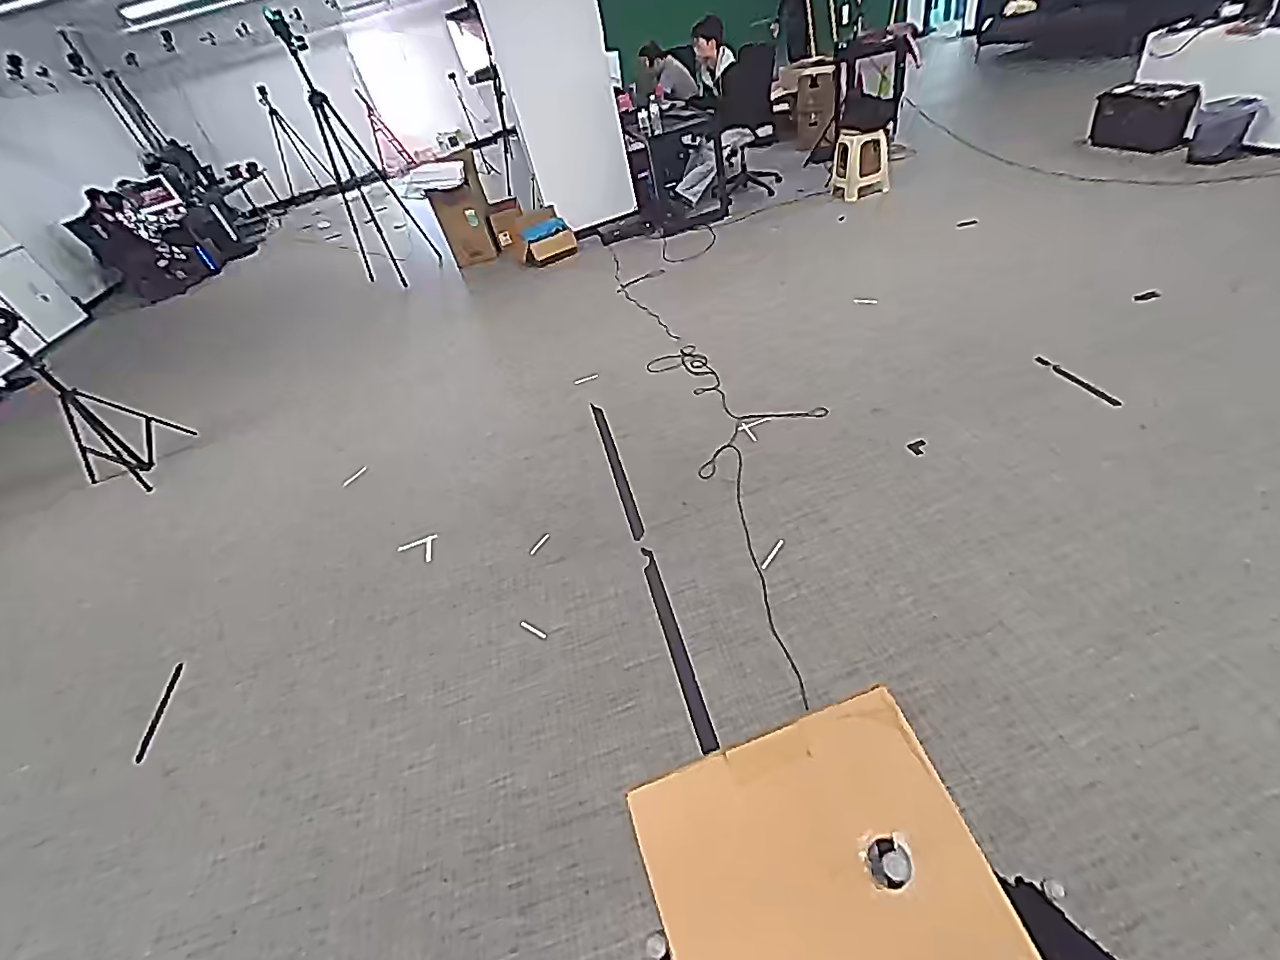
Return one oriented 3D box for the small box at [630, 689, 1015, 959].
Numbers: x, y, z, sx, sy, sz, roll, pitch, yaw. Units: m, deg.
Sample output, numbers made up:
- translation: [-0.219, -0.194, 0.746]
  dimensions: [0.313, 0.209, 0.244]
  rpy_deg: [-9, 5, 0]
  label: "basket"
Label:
- translation: [0.103, 0.262, 0.357]
  dimensions: [0.168, 0.179, 0.176]
  rpy_deg: [-19, 62, -6]
  label: "small box"
